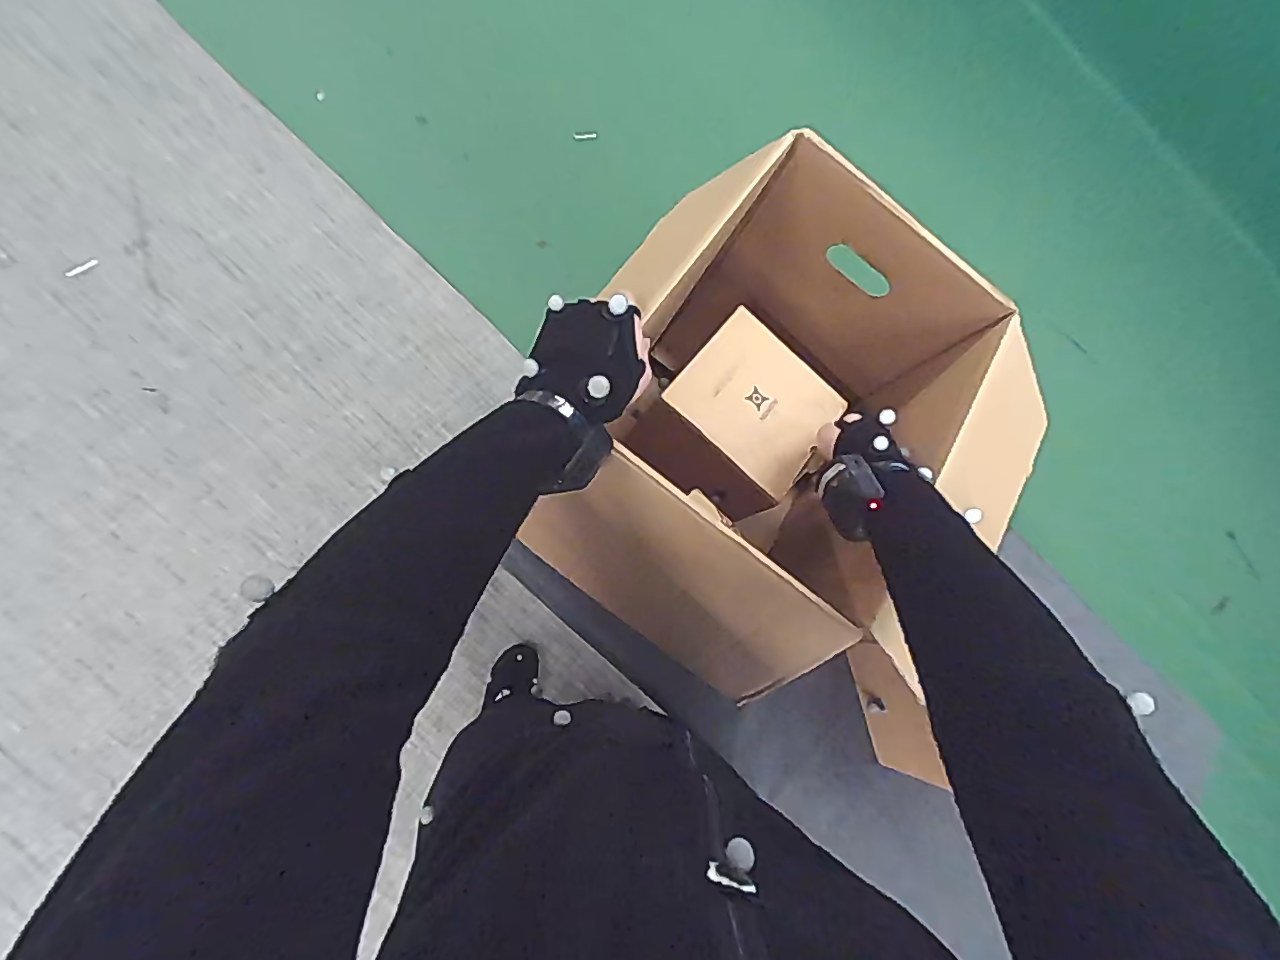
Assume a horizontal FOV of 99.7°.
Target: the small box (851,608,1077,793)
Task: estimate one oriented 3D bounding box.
[{"bbox_3d":[0.415,0.275,0.721,0.168,0.176,0.179,-10,81,-16],"label":"small box"}]
